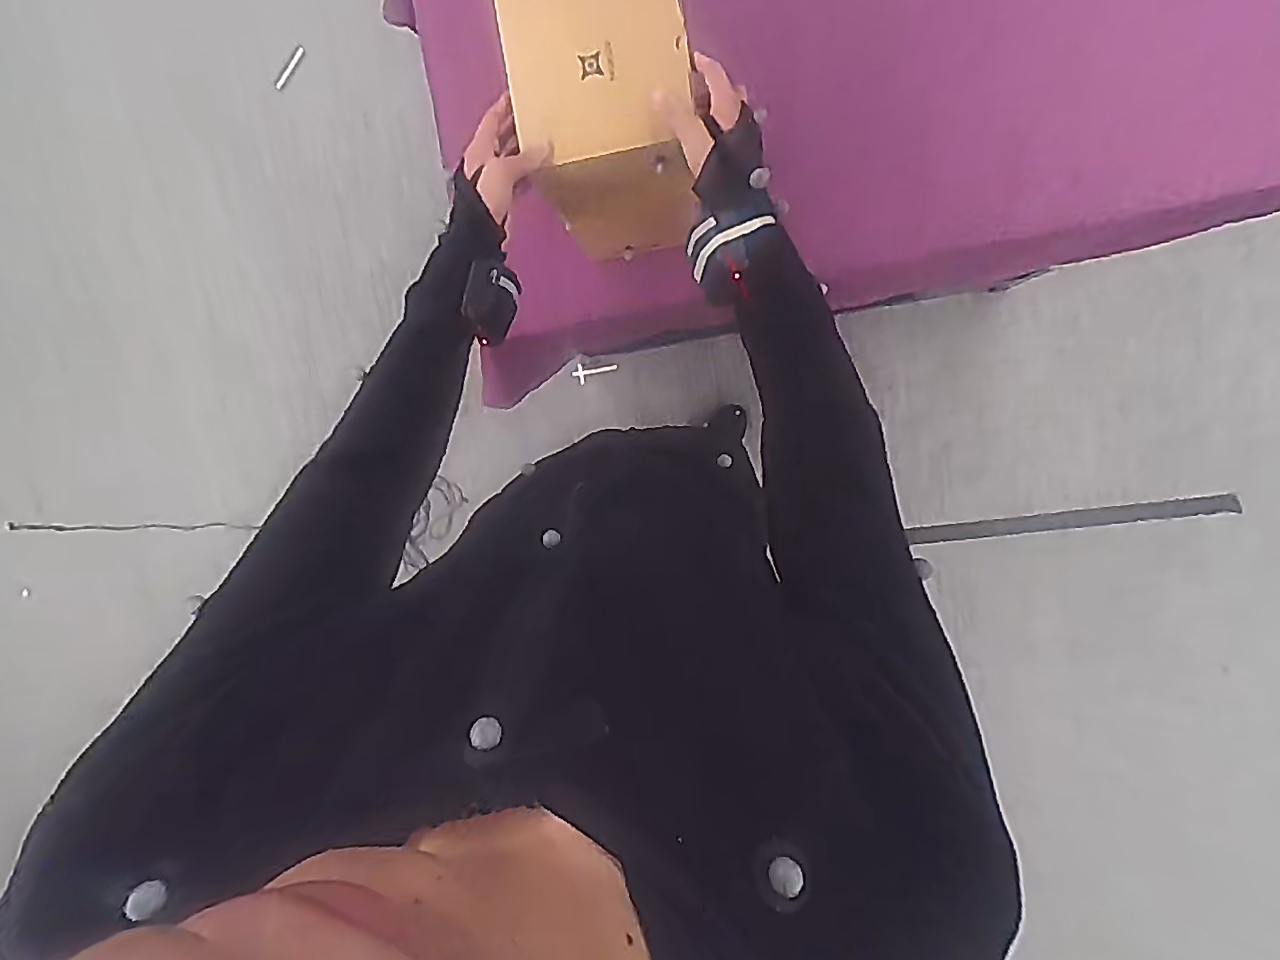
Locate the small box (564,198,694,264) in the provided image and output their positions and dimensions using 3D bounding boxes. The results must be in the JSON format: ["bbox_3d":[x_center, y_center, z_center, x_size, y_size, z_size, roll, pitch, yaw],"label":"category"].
[{"bbox_3d":[-0.018,-0.420,0.743,0.168,0.176,0.179,-7,97,8],"label":"small box"}]

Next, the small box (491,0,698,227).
[{"bbox_3d":[-0.035,-0.394,0.583,0.179,0.176,0.168,-8,97,8],"label":"small box"}]
